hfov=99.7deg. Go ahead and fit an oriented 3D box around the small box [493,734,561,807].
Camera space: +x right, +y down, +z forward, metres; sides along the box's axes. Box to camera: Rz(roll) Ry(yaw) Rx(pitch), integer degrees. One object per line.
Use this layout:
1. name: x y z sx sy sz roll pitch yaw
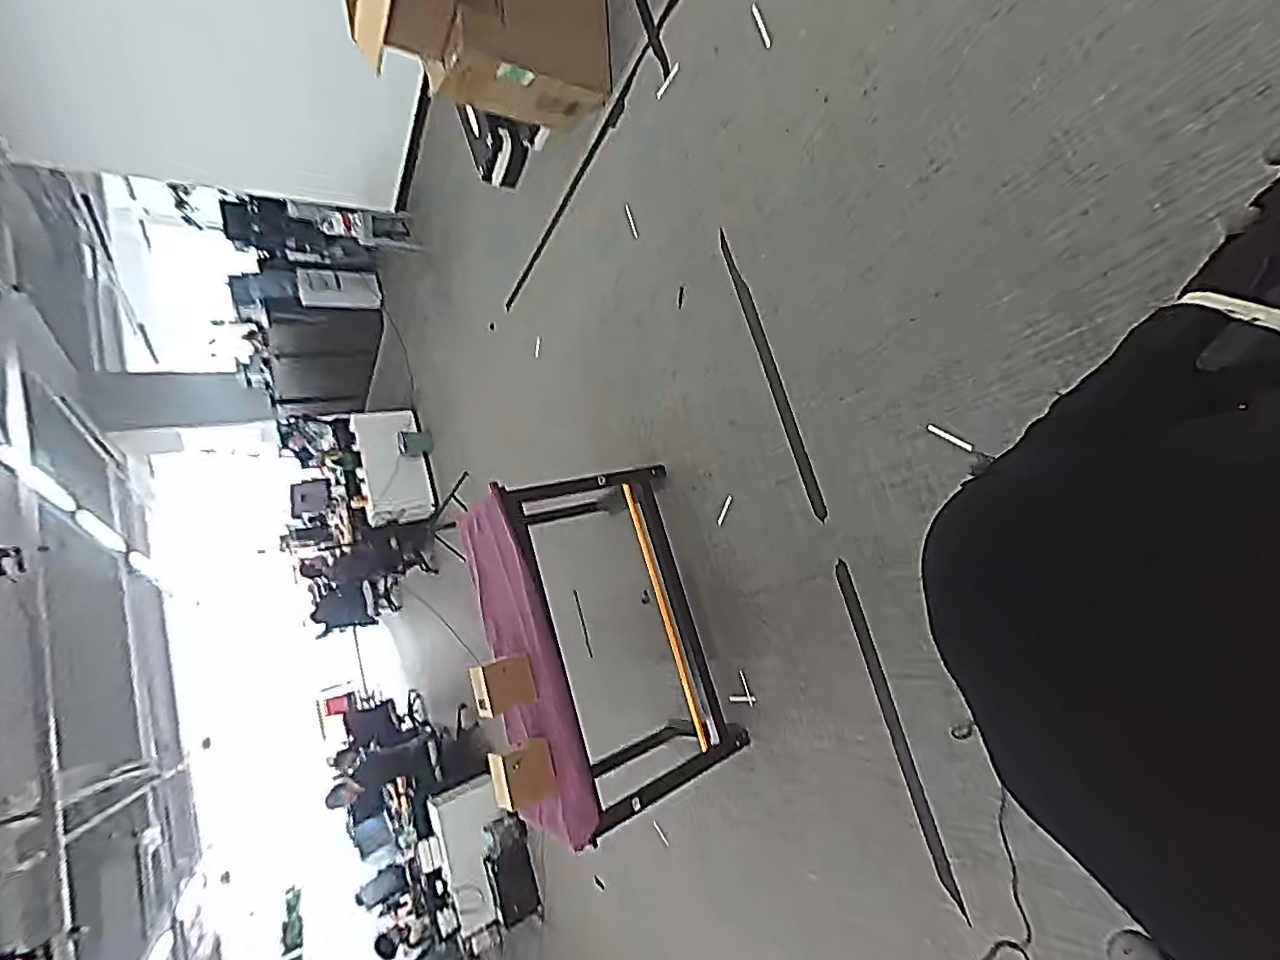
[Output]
1. small box: -0.394 1.004 1.884 0.168 0.176 0.179 -36 67 53
